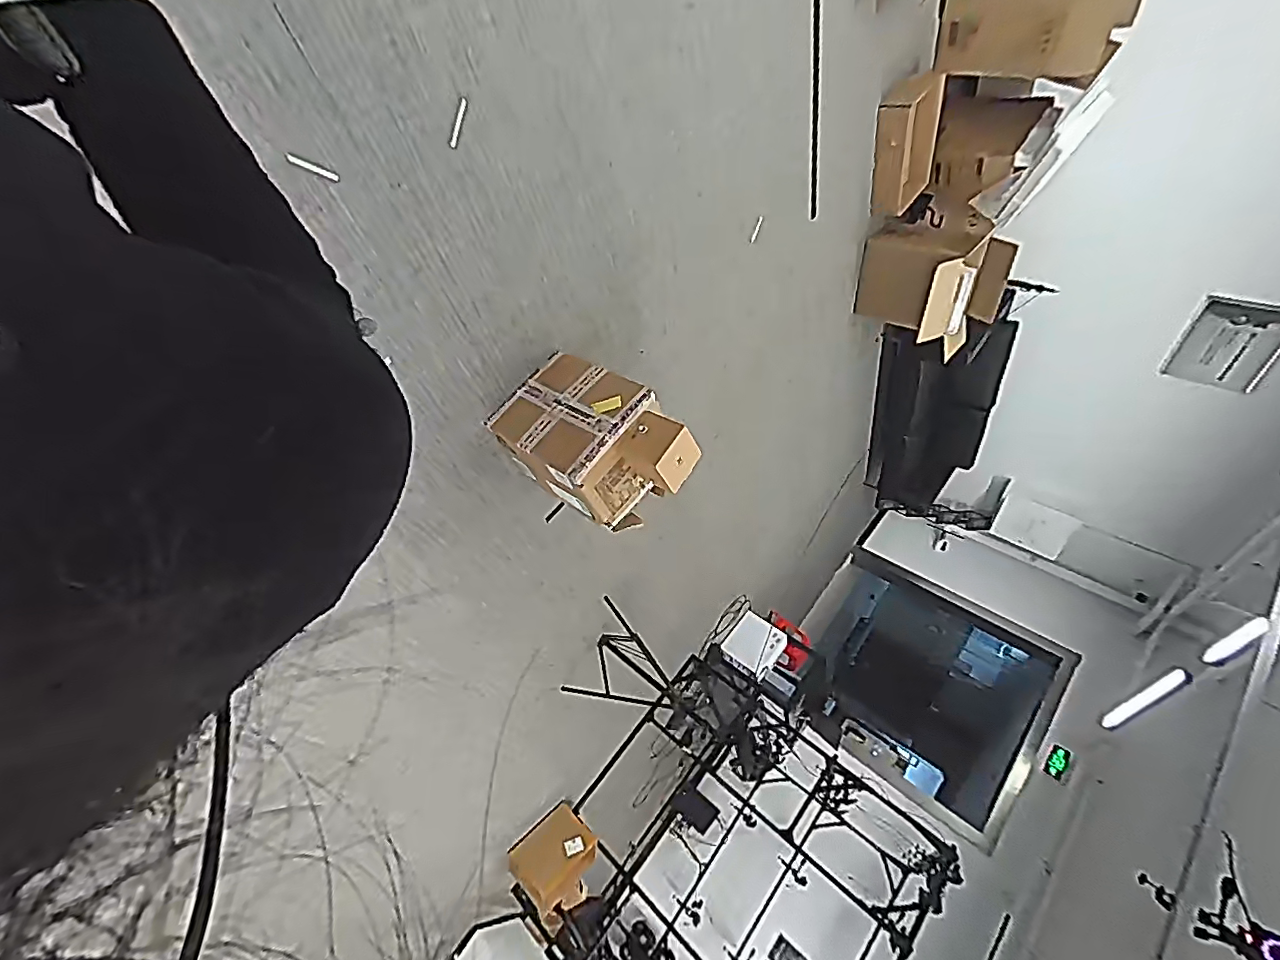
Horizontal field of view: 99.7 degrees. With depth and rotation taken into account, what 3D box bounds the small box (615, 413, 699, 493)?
[{"bbox_3d":[0.055,-0.091,1.725,0.168,0.176,0.179,-55,142,-12],"label":"small box"}]
